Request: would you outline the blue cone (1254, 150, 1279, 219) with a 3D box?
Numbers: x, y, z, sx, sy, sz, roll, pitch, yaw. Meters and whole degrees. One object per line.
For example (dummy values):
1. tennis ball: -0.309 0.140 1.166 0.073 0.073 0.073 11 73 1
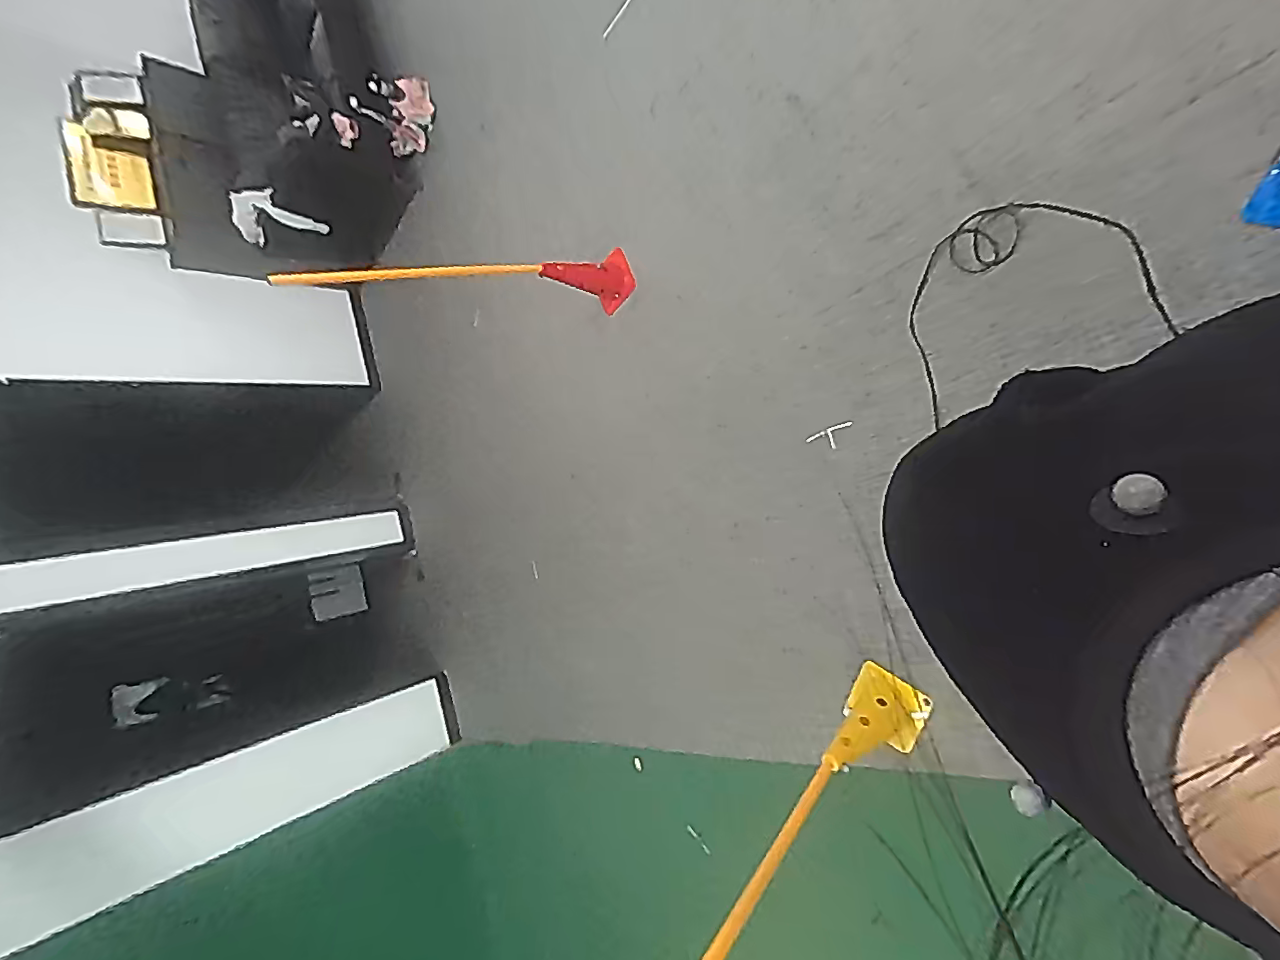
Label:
1. blue cone: 1.063 -0.514 0.776 0.192 0.380 0.193 35 117 37
